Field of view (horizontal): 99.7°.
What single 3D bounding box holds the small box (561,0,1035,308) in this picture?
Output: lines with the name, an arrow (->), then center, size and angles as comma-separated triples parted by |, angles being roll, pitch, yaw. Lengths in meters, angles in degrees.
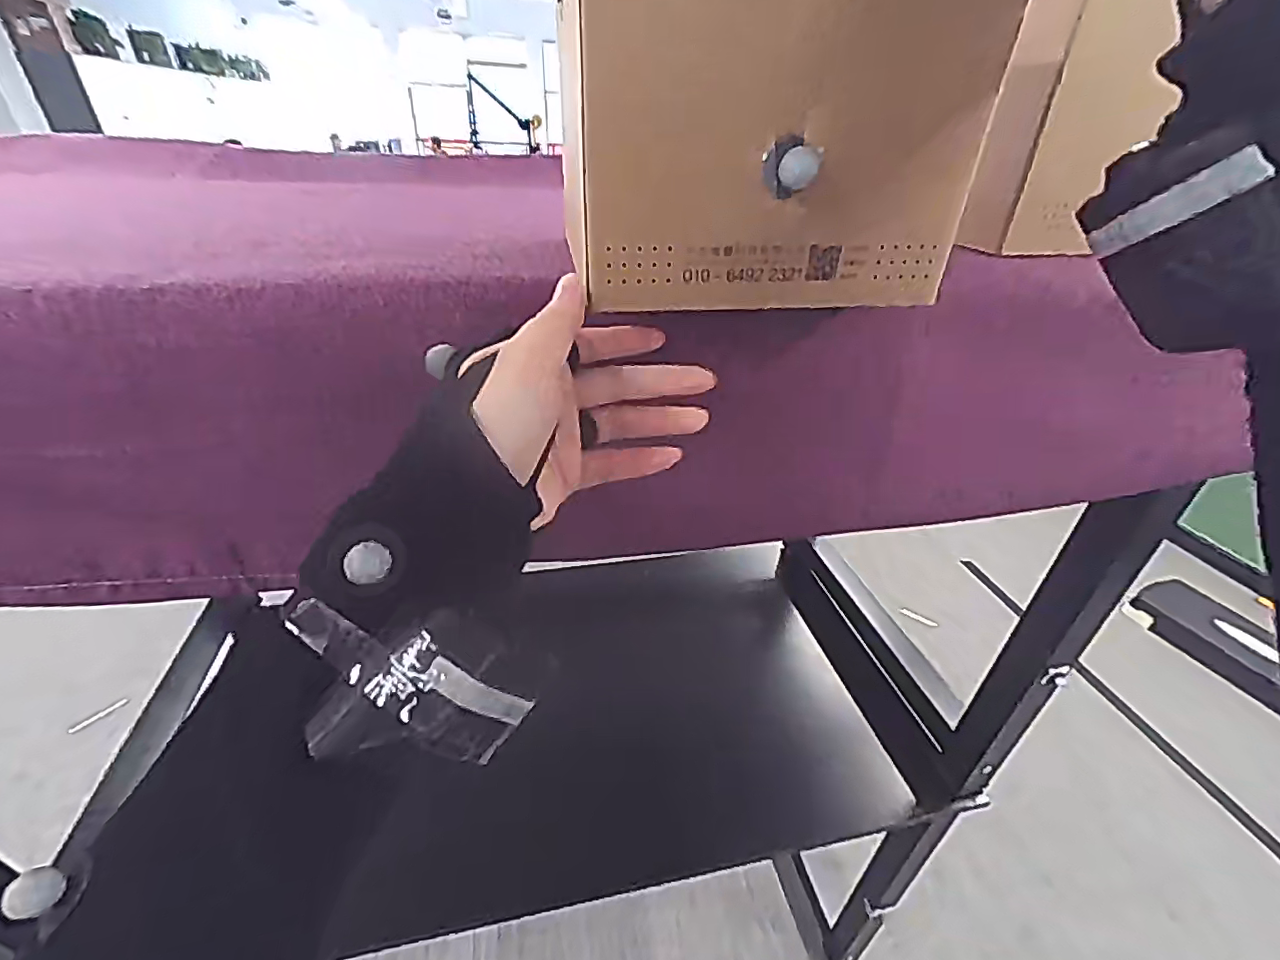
small box -> 0.047, -0.191, 0.263 | 0.168, 0.176, 0.179 | -4, 34, -8

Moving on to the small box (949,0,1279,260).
small box -> 0.309, -0.265, 0.395 | 0.179, 0.176, 0.168 | -5, 33, -9
